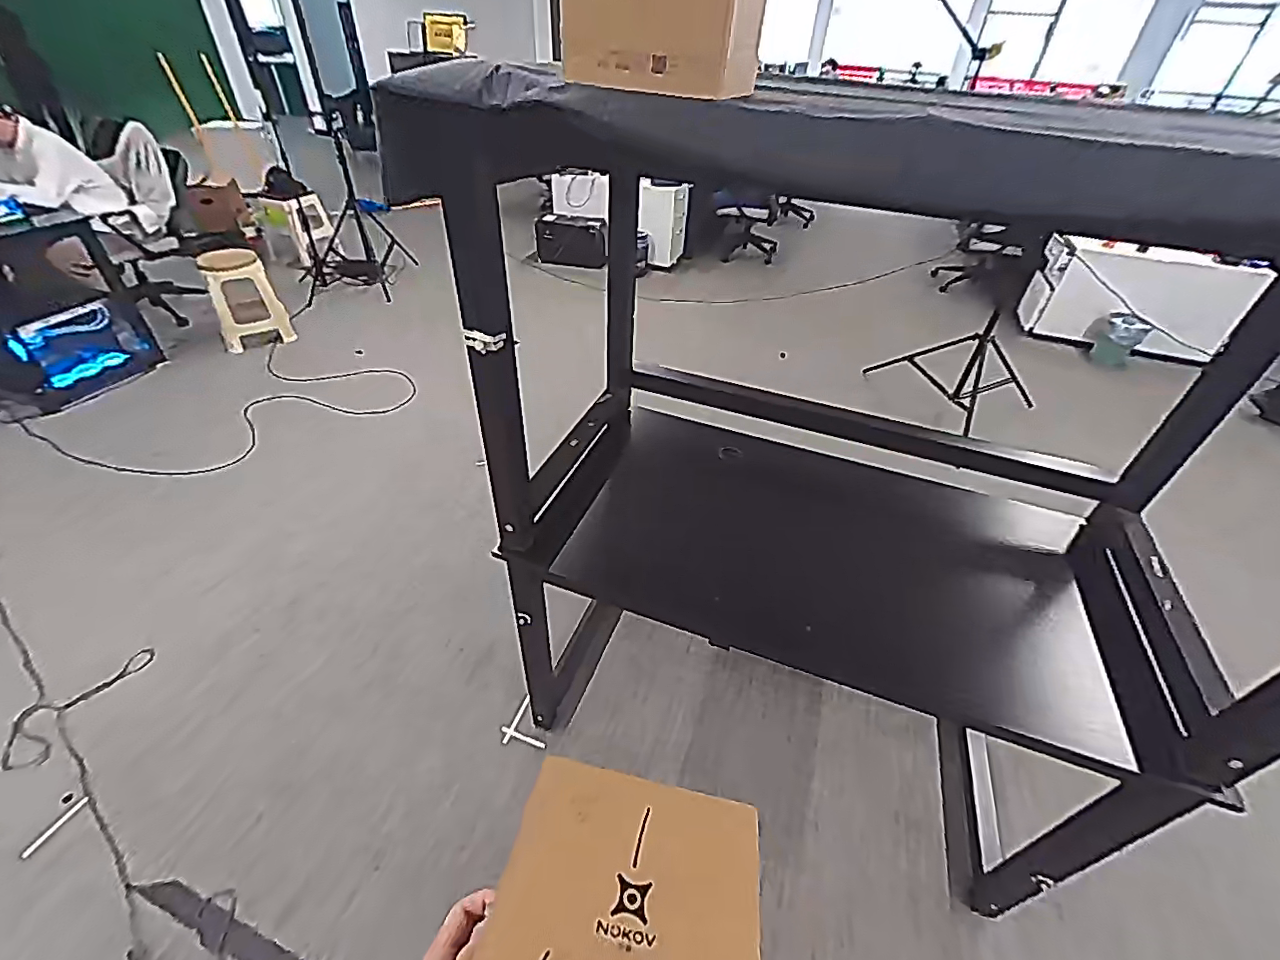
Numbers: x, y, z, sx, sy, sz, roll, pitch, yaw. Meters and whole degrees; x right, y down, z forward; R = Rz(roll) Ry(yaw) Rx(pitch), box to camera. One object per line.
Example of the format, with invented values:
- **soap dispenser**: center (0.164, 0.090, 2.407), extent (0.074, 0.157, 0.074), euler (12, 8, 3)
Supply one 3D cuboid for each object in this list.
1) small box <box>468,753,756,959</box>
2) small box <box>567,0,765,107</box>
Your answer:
- **small box**: center (-0.019, 0.334, 0.374), extent (0.168, 0.176, 0.179), euler (11, 30, 5)
- **small box**: center (0.033, -0.485, 0.544), extent (0.168, 0.176, 0.179), euler (16, 39, 13)
